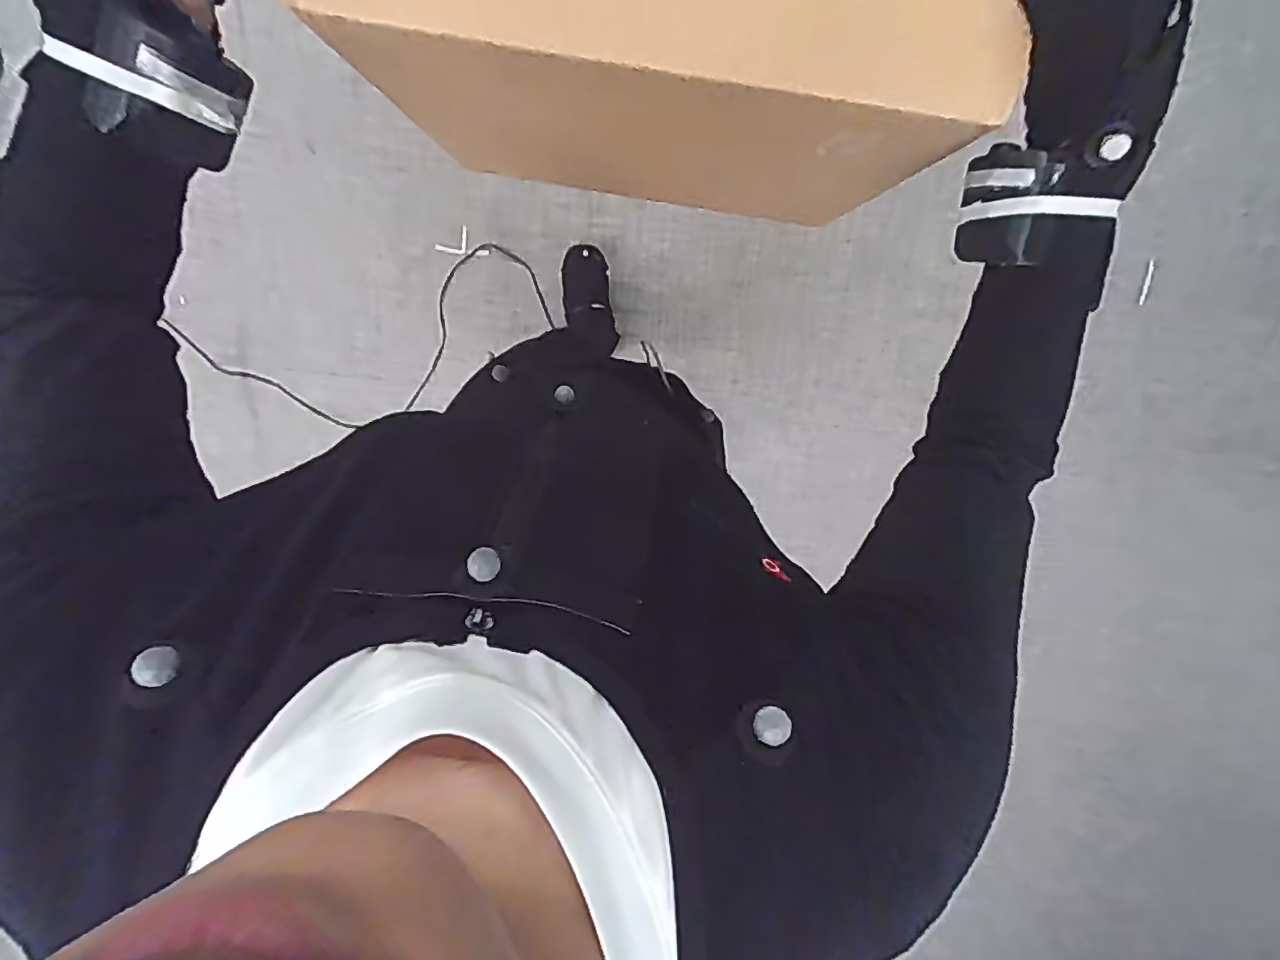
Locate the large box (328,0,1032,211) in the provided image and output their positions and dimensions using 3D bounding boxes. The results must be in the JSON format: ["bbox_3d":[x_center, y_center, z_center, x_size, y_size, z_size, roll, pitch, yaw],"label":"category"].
[{"bbox_3d":[0.032,-0.426,0.412,0.408,0.320,0.320,7,106,-3],"label":"large box"}]
